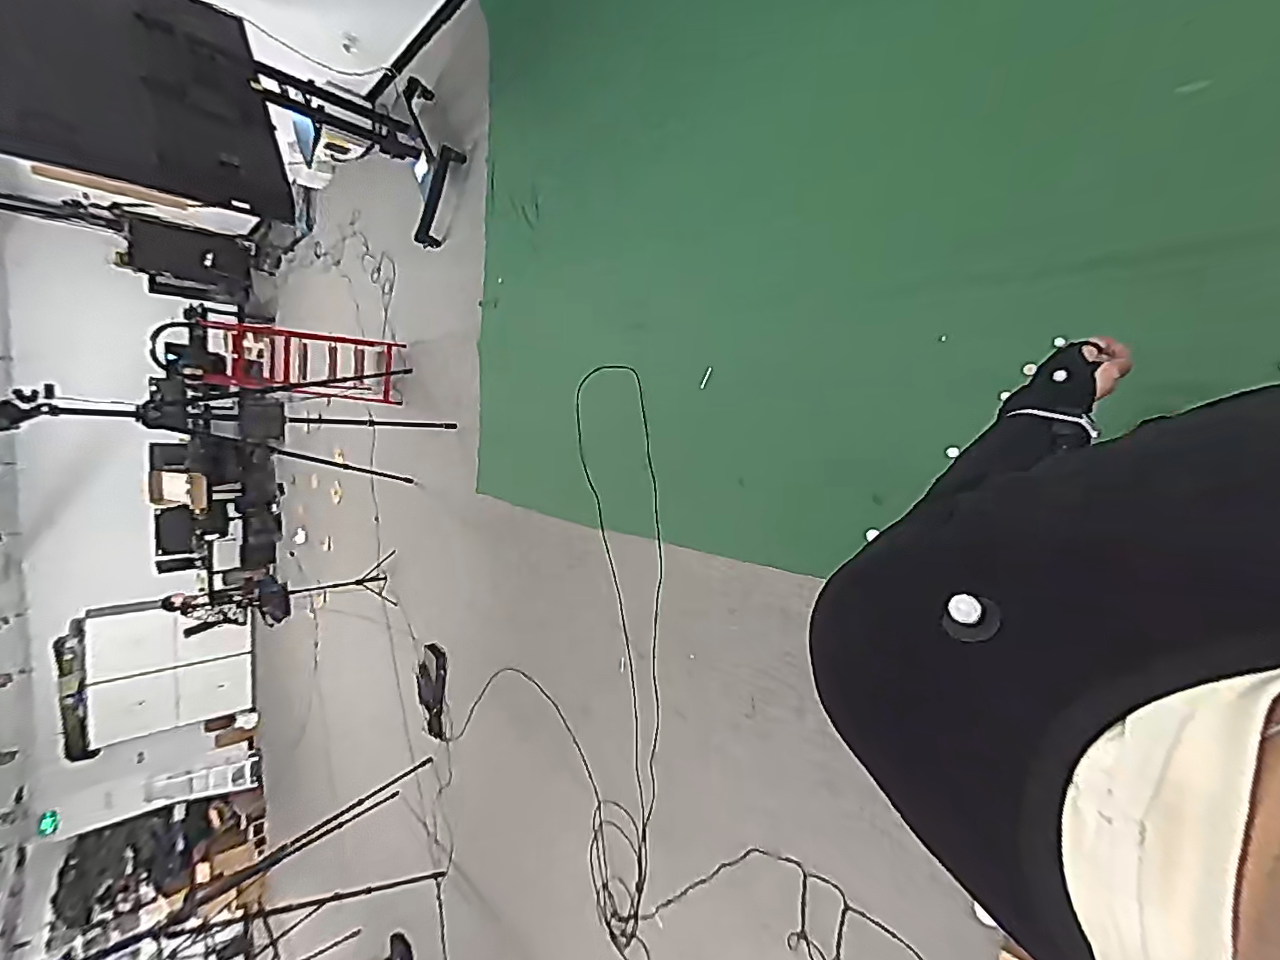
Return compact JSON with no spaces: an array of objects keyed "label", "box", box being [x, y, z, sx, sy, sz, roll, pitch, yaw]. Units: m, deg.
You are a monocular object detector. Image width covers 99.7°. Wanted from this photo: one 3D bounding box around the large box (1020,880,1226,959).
[{"label":"large box","box":[1.069,1.179,1.152,0.408,0.320,0.320,5,95,44]}]
